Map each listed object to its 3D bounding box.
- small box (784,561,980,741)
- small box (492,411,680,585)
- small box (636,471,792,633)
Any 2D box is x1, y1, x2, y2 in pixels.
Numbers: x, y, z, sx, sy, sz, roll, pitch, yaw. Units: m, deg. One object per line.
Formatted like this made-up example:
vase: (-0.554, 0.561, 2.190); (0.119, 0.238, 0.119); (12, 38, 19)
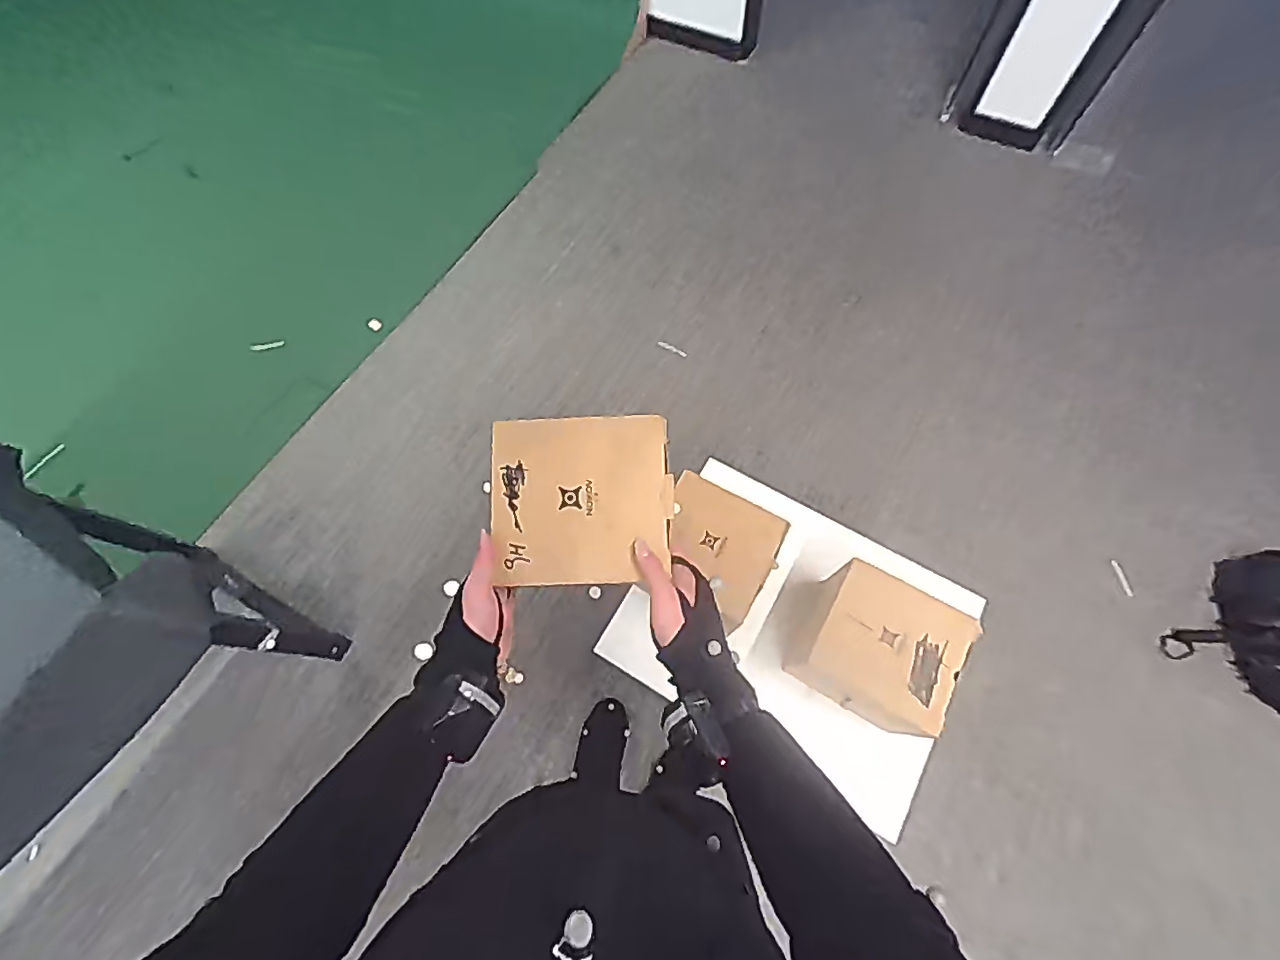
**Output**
small box: (0.331, 0.243, 0.771); (0.179, 0.176, 0.168); (29, 71, 14)
small box: (-0.053, 0.029, 0.594); (0.179, 0.176, 0.168); (0, 78, -2)
small box: (0.103, 0.118, 0.829); (0.179, 0.176, 0.168); (27, 69, 12)
